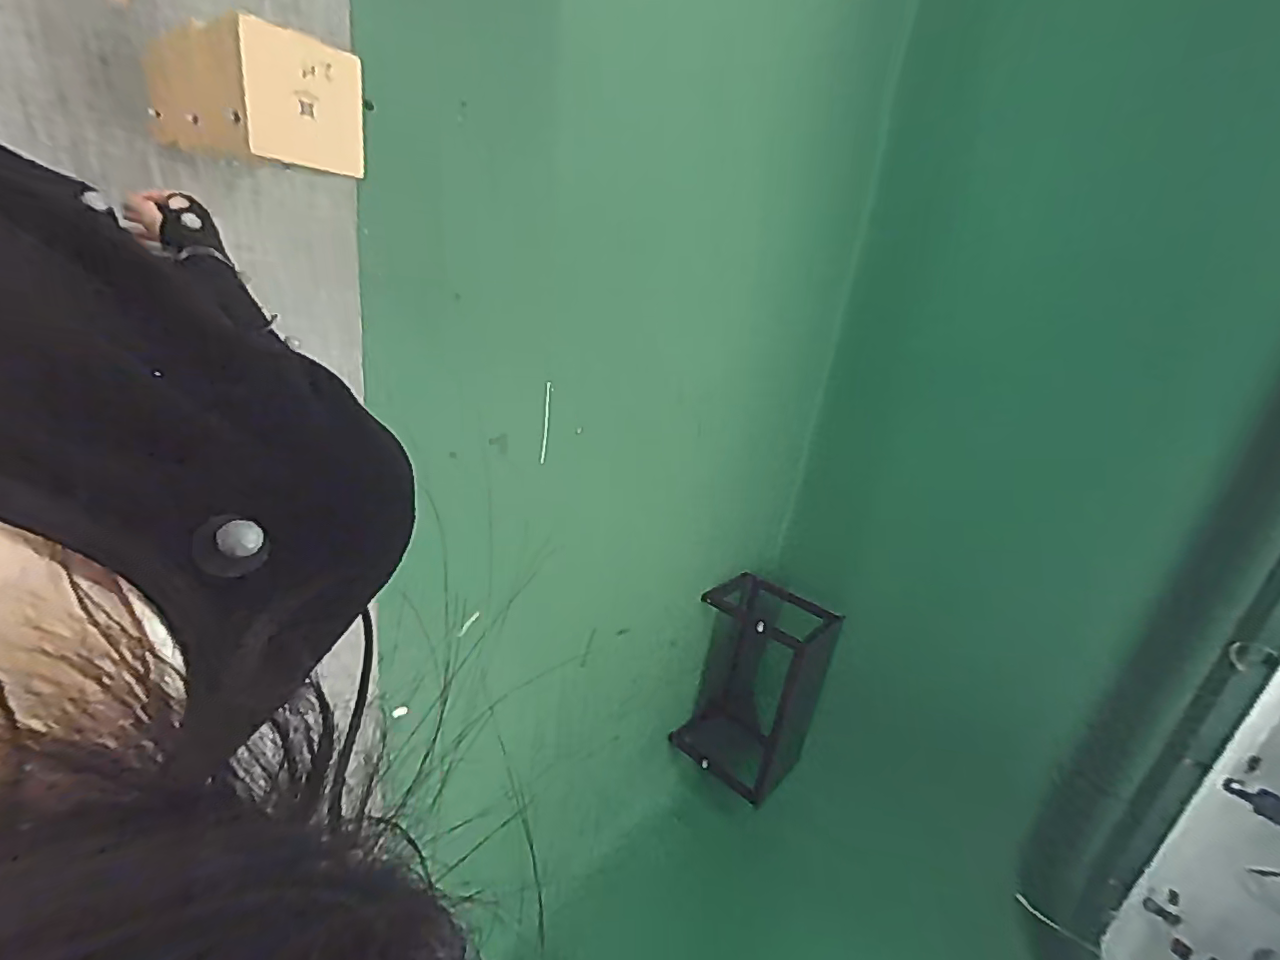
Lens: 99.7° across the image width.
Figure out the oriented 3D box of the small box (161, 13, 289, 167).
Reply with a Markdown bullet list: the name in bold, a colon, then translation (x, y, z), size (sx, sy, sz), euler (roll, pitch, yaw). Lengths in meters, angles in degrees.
- **small box**: translation (-0.704, -0.666, 0.946), size (0.168, 0.176, 0.179), euler (-16, 123, -48)

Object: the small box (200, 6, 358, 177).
- **small box**: translation (-0.573, -0.605, 0.866), size (0.168, 0.176, 0.179), euler (-15, 122, -48)

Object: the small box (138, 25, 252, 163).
- **small box**: translation (-0.828, -0.720, 1.035), size (0.179, 0.176, 0.168), euler (-13, 119, -49)
